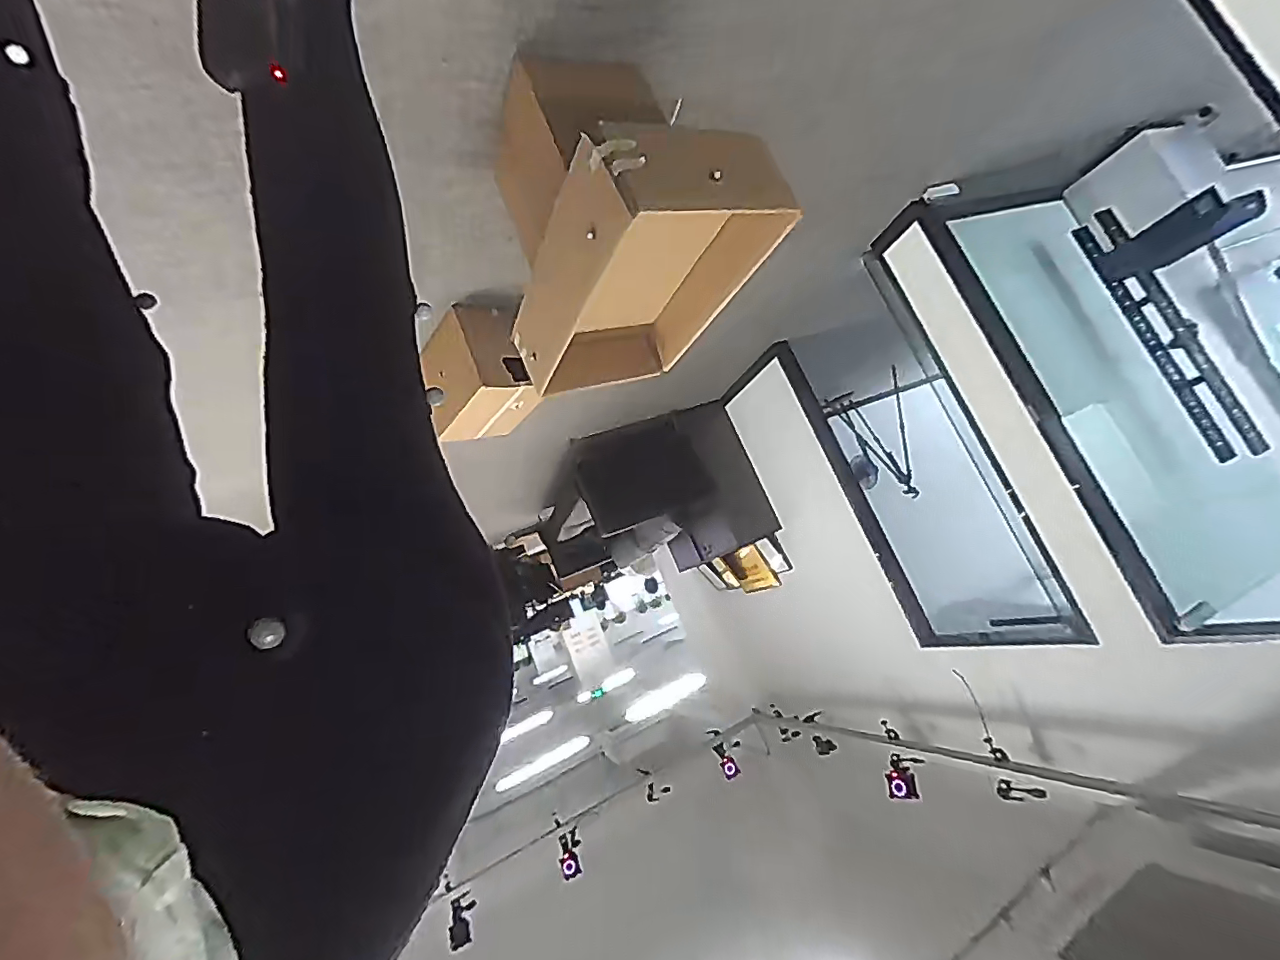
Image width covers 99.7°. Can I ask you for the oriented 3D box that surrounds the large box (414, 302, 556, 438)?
[{"bbox_3d":[-0.579,-0.392,1.983,0.320,0.320,0.408,-14,166,-46],"label":"large box"}]
